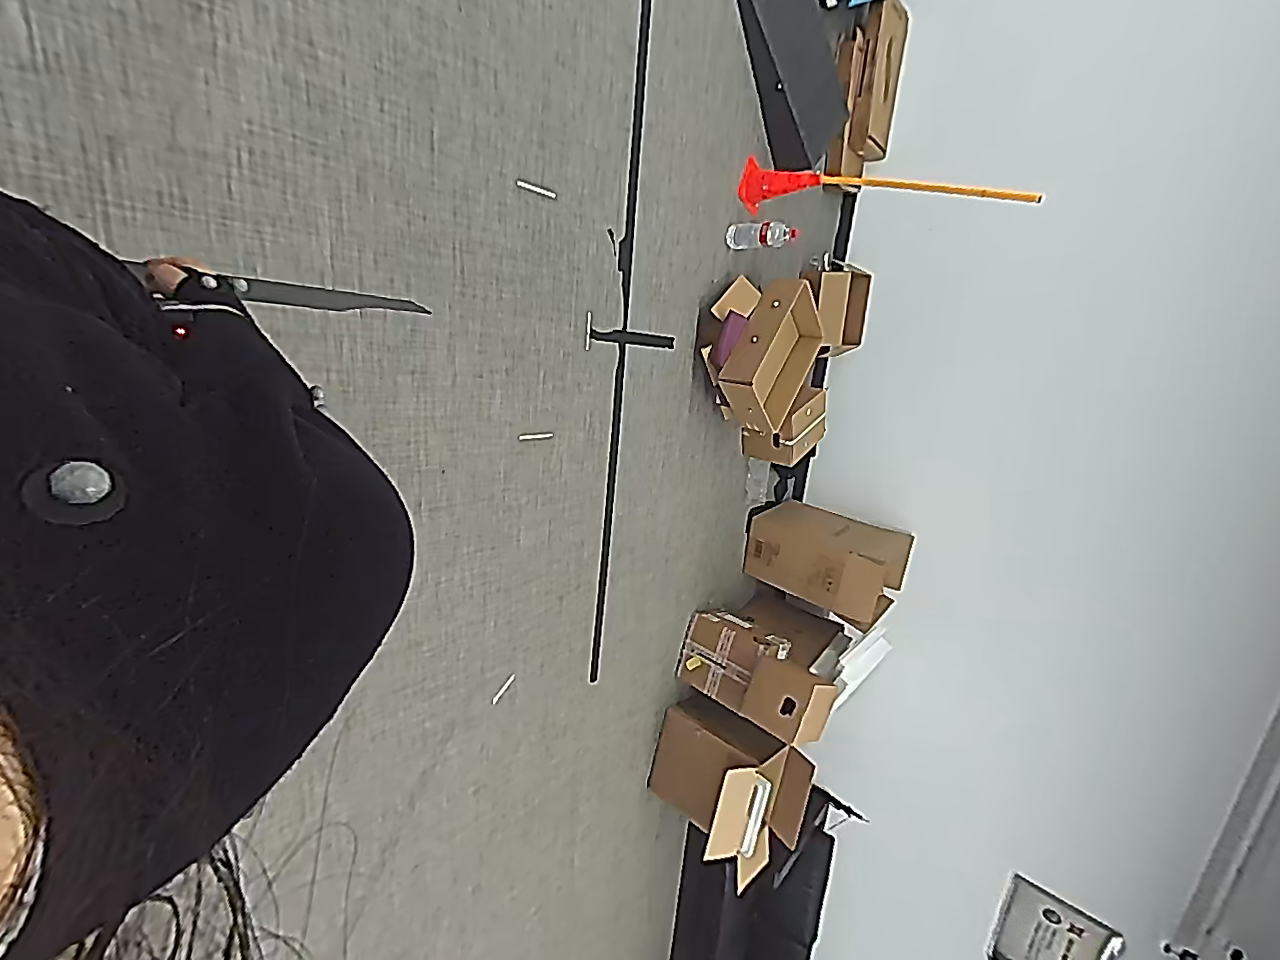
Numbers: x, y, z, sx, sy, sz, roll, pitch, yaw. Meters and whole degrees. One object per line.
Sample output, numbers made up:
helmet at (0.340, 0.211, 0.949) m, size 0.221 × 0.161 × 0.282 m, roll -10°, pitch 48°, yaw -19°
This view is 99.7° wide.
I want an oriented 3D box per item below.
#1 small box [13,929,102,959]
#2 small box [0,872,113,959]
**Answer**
small box at (-1.137, 1.017, 1.024) m, size 0.168 × 0.176 × 0.179 m, roll -30°, pitch 125°, yaw -44°
small box at (-1.258, 0.971, 1.127) m, size 0.168 × 0.176 × 0.179 m, roll -29°, pitch 124°, yaw -43°
